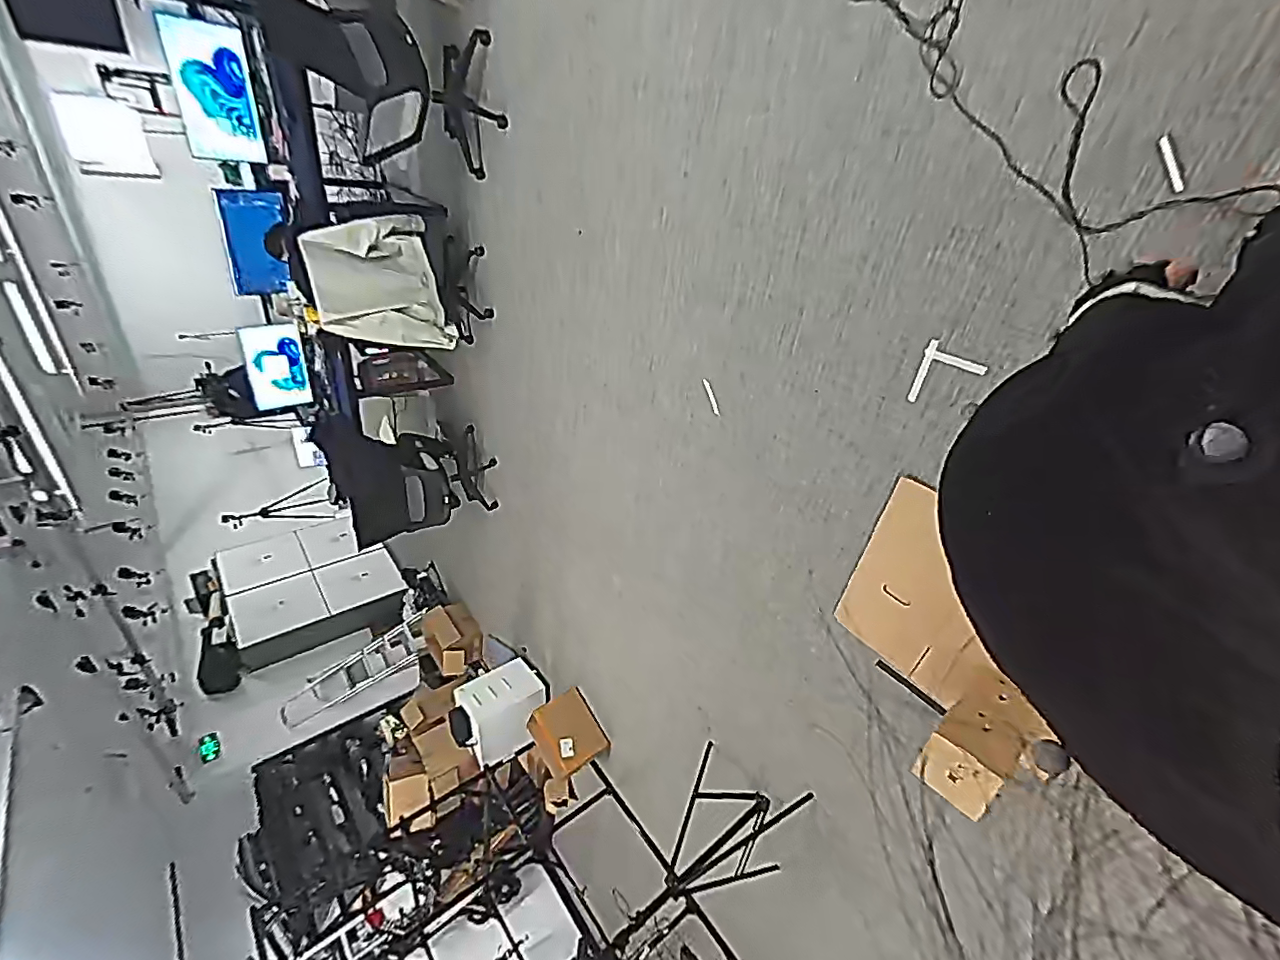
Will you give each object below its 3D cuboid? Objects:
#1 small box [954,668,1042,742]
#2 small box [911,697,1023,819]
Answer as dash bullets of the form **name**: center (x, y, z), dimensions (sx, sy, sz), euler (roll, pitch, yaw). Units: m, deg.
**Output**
- **small box**: center (0.947, 0.645, 1.459), dimensions (0.168, 0.176, 0.179), euler (32, 128, 41)
- **small box**: center (0.824, 0.692, 1.361), dimensions (0.168, 0.176, 0.179), euler (33, 129, 39)
